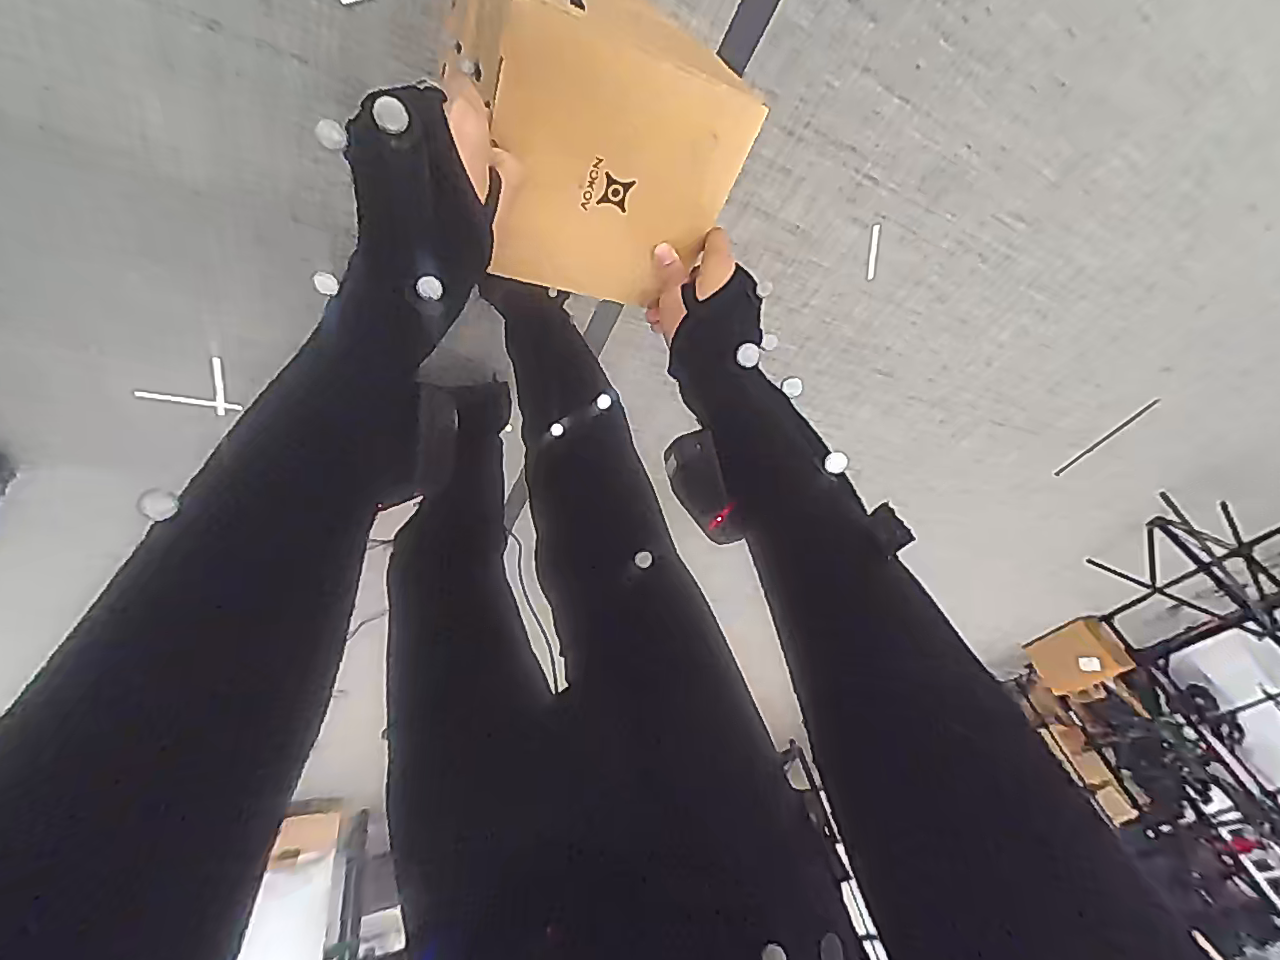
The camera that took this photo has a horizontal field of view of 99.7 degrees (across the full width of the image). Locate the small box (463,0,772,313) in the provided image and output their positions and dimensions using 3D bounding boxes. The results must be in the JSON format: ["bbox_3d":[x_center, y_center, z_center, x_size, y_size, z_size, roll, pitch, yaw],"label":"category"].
[{"bbox_3d":[-0.035,-0.263,0.423,0.179,0.176,0.168,5,138,-25],"label":"small box"}]

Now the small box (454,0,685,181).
[{"bbox_3d":[-0.083,-0.387,0.517,0.168,0.176,0.179,4,139,-24],"label":"small box"}]
